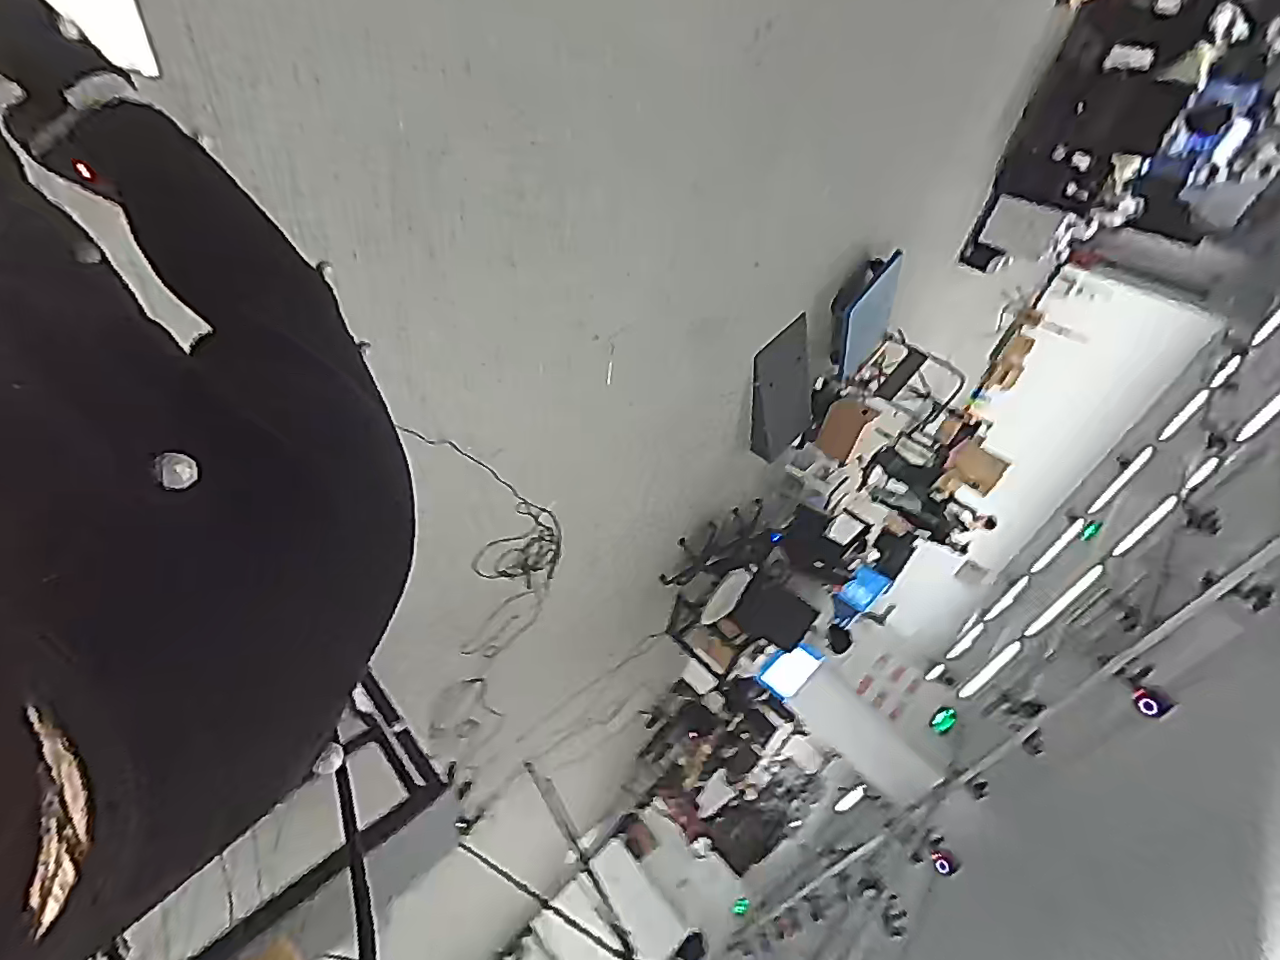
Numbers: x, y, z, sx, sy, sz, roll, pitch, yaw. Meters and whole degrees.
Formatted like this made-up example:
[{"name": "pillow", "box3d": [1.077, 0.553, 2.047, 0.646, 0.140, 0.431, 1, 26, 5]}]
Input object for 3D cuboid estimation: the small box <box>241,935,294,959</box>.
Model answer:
[{"name": "small box", "box3d": [-1.053, 1.423, 1.503, 0.168, 0.176, 0.179, -26, 143, -41]}]
